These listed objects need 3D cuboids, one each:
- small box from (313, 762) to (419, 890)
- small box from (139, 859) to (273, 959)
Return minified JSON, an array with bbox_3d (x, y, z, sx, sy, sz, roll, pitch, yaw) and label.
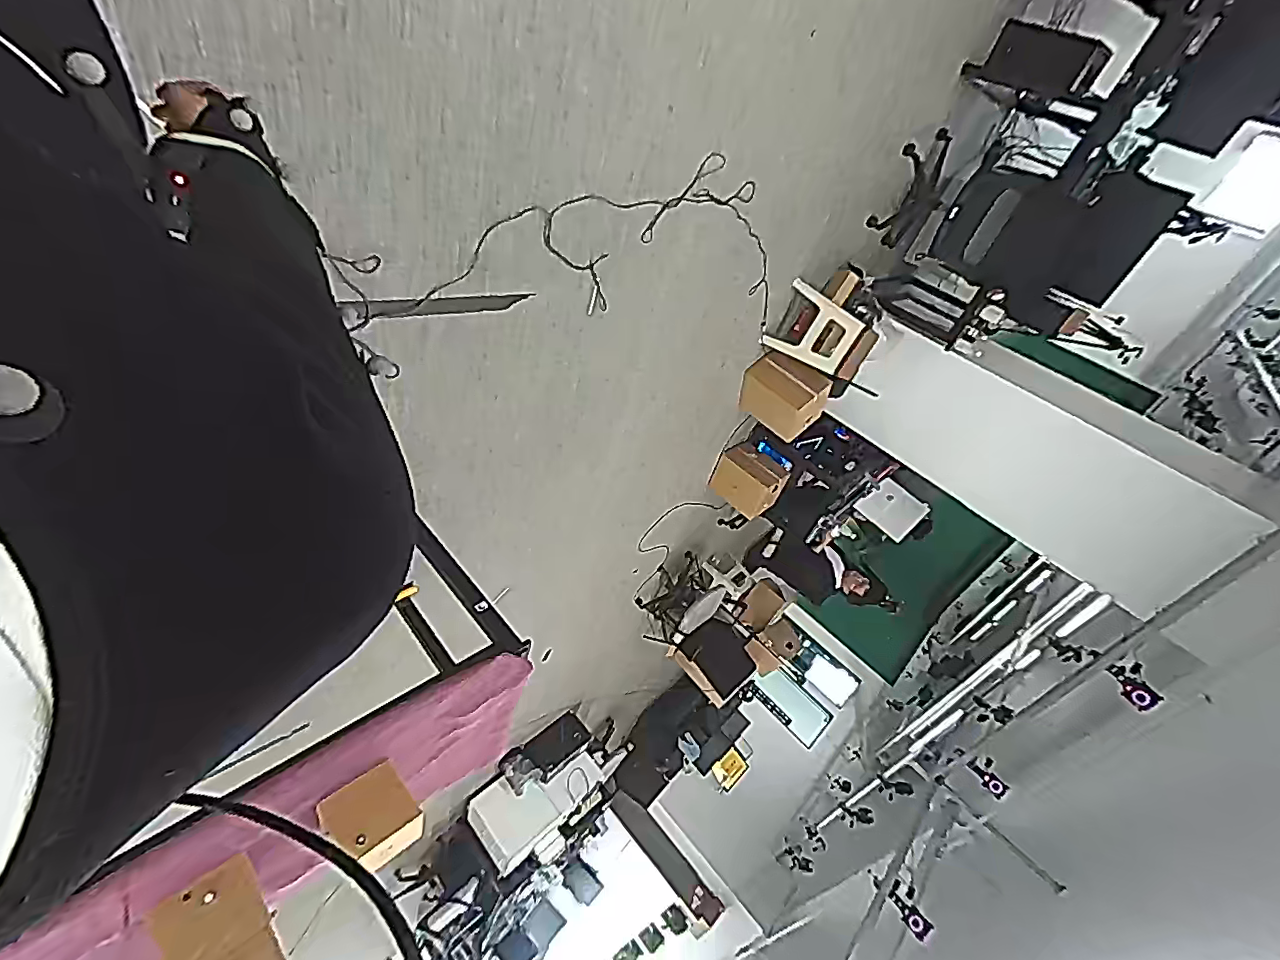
[{"bbox_3d":[-0.665,0.830,1.313,0.179,0.176,0.168,-22,144,-43],"label":"small box"},{"bbox_3d":[-0.875,0.922,1.099,0.168,0.176,0.179,-22,143,-45],"label":"small box"}]
